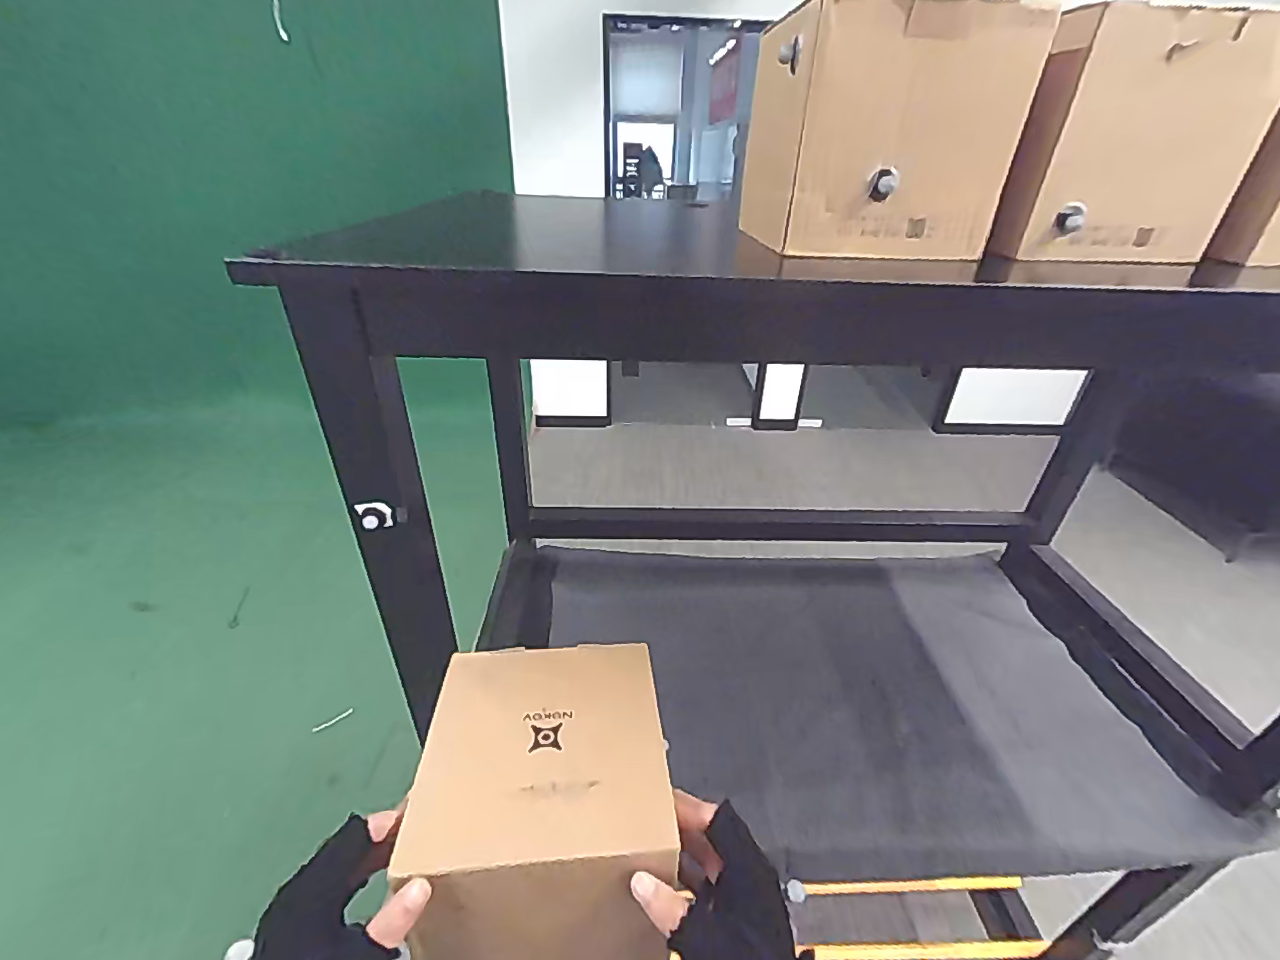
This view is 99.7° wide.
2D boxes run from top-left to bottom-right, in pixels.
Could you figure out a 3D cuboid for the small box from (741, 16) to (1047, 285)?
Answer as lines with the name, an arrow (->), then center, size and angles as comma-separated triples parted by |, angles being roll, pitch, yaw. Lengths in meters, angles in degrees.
small box -> 0.193, -0.280, 0.480 | 0.168, 0.176, 0.179 | 0, 32, -3
